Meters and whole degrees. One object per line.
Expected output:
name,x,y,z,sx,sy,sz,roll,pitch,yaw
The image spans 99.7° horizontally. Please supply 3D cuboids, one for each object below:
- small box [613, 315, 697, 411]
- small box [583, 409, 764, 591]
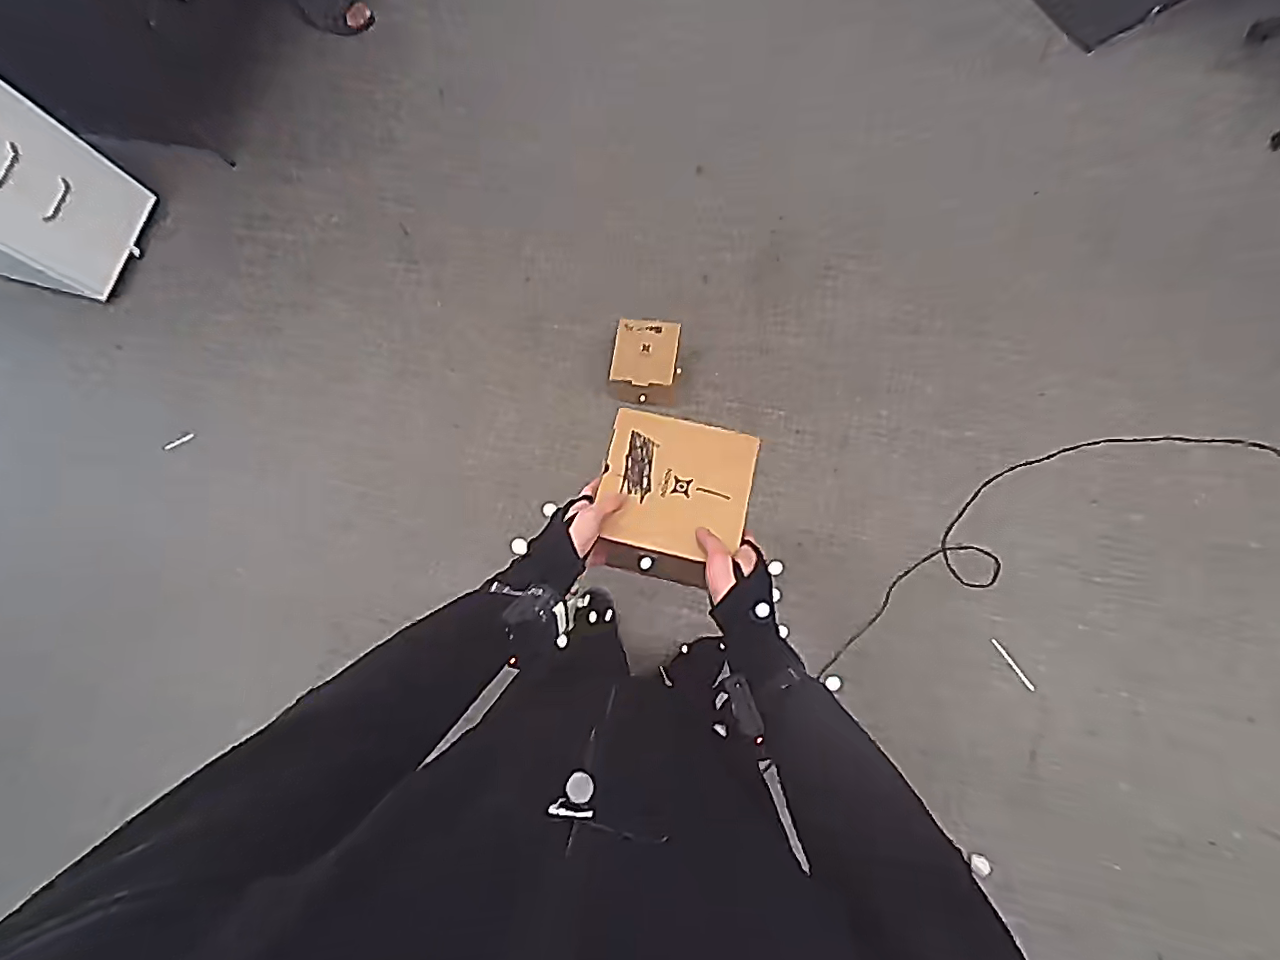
small box,0.048,-0.314,1.488,0.179,0.176,0.168,-22,73,3
small box,0.044,0.036,0.706,0.179,0.176,0.168,17,72,8
